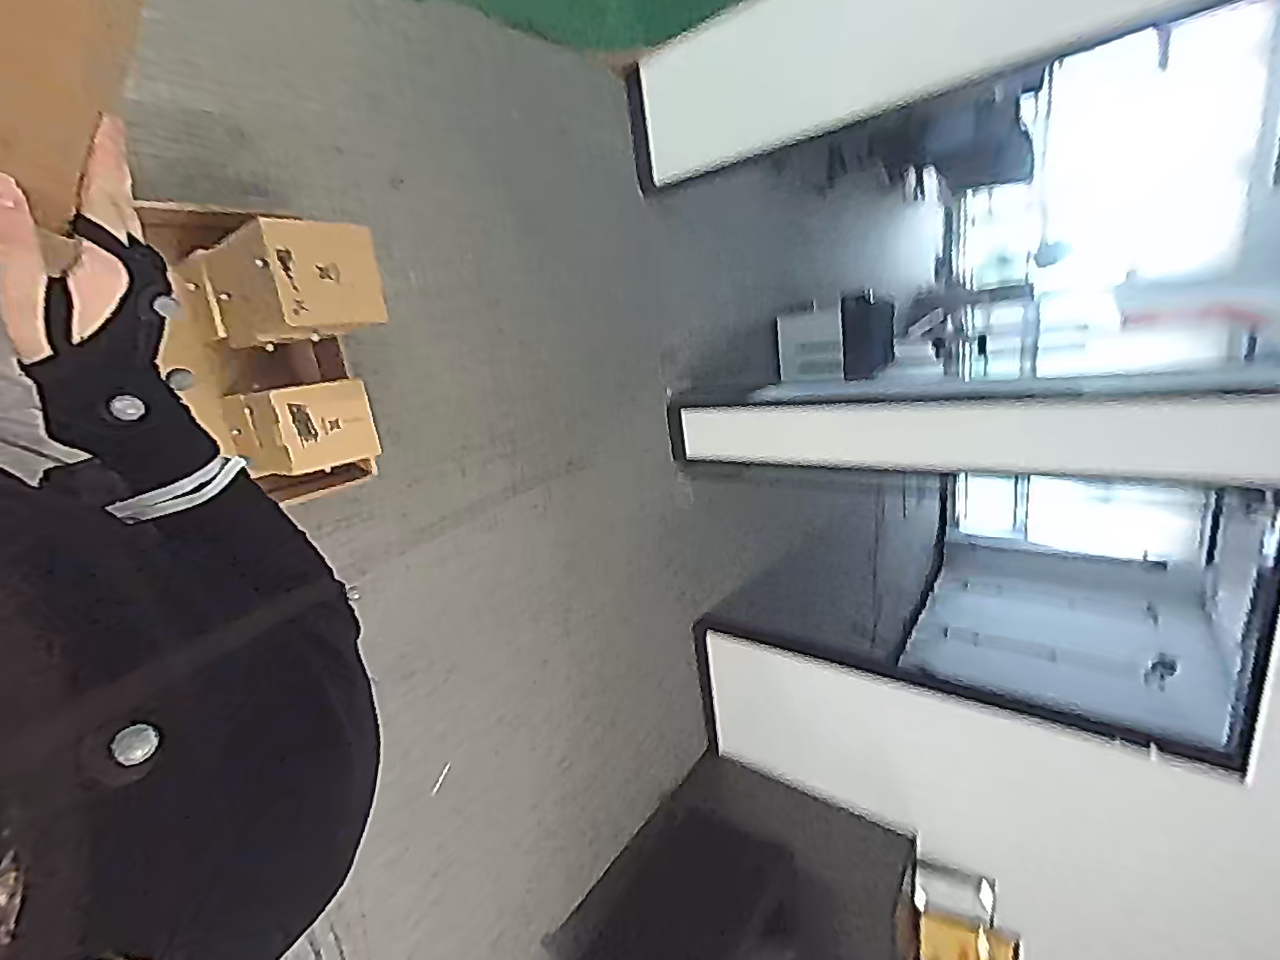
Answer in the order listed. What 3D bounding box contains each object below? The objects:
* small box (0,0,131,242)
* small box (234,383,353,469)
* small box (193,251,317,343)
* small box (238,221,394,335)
[{"bbox_3d":[-0.331,-0.249,0.222,0.168,0.179,0.176,12,63,-43],"label":"small box"},{"bbox_3d":[-0.803,-0.127,1.246,0.179,0.176,0.168,-24,112,-46],"label":"small box"},{"bbox_3d":[-0.838,-0.389,1.176,0.179,0.176,0.168,-19,110,-48],"label":"small box"},{"bbox_3d":[-0.580,-0.353,0.974,0.179,0.176,0.168,-21,111,-48],"label":"small box"}]
